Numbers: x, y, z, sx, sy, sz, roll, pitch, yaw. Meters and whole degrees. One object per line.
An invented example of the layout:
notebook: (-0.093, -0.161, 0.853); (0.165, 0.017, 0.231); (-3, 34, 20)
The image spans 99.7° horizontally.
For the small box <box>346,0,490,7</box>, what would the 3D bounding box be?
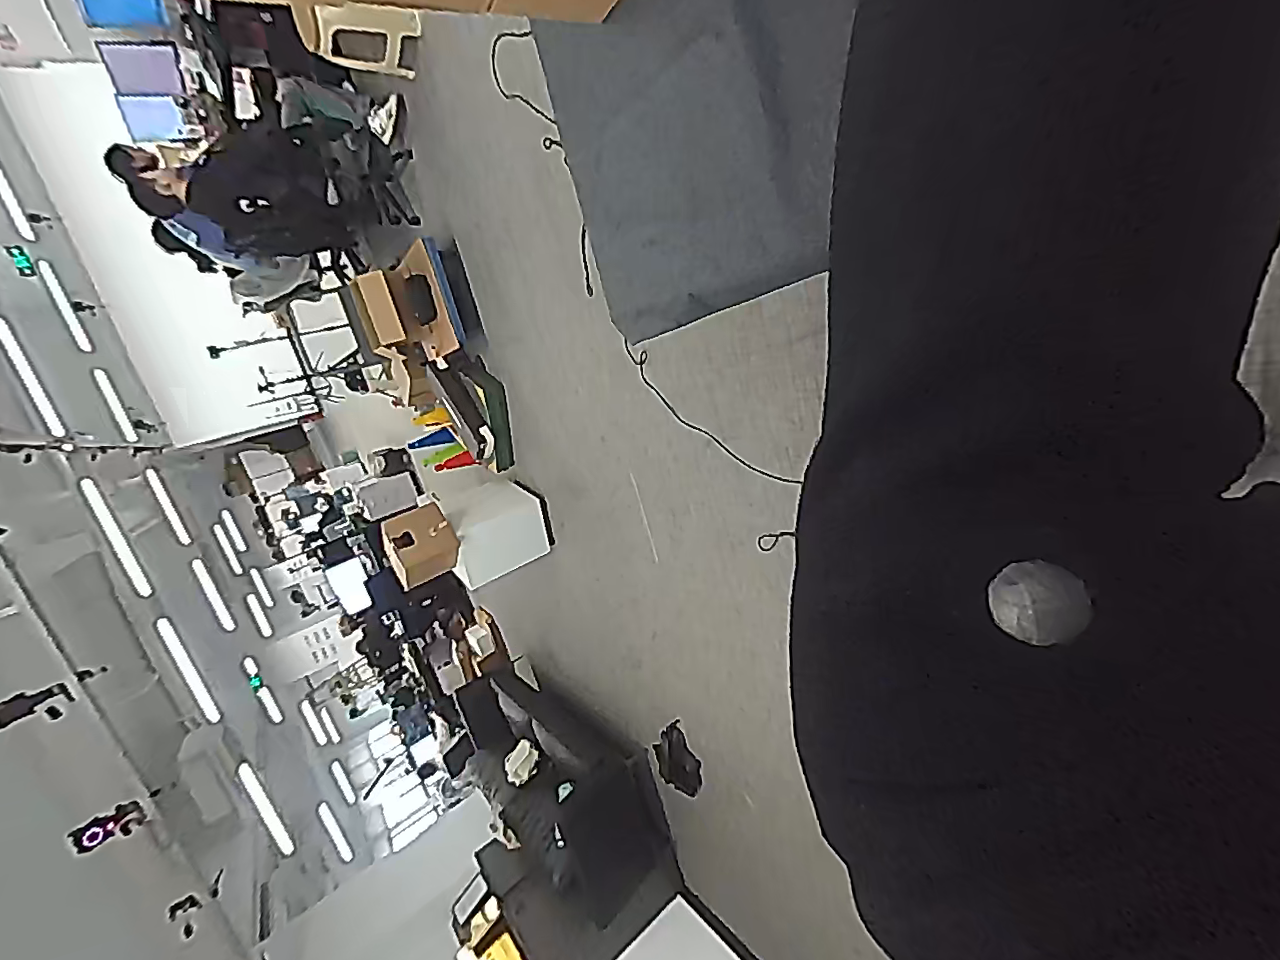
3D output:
small box: (-0.214, -0.589, 0.504); (0.179, 0.176, 0.168); (-2, 112, 55)

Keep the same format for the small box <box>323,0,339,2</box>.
small box: (-0.334, -0.518, 0.417); (0.179, 0.176, 0.168); (2, 115, 54)
